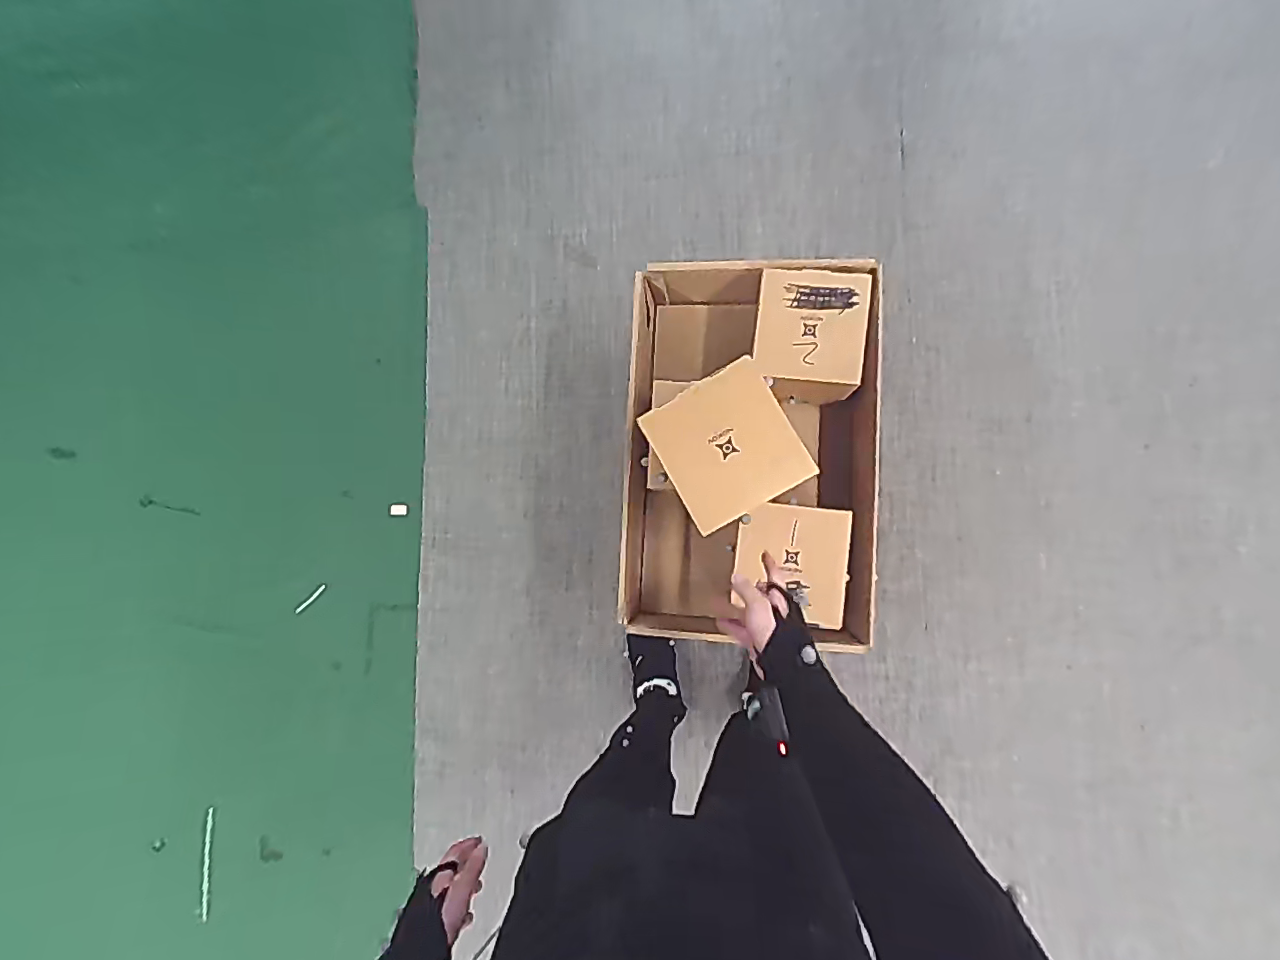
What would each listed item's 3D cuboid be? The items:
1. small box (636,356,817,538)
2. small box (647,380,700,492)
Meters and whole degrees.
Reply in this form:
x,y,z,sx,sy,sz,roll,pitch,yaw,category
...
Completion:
x,y,z,sx,sy,sz,roll,pitch,yaw,category
0.118,-0.037,0.747,0.168,0.176,0.179,-31,81,6,small box
0.109,-0.063,0.915,0.168,0.176,0.179,3,87,9,small box
